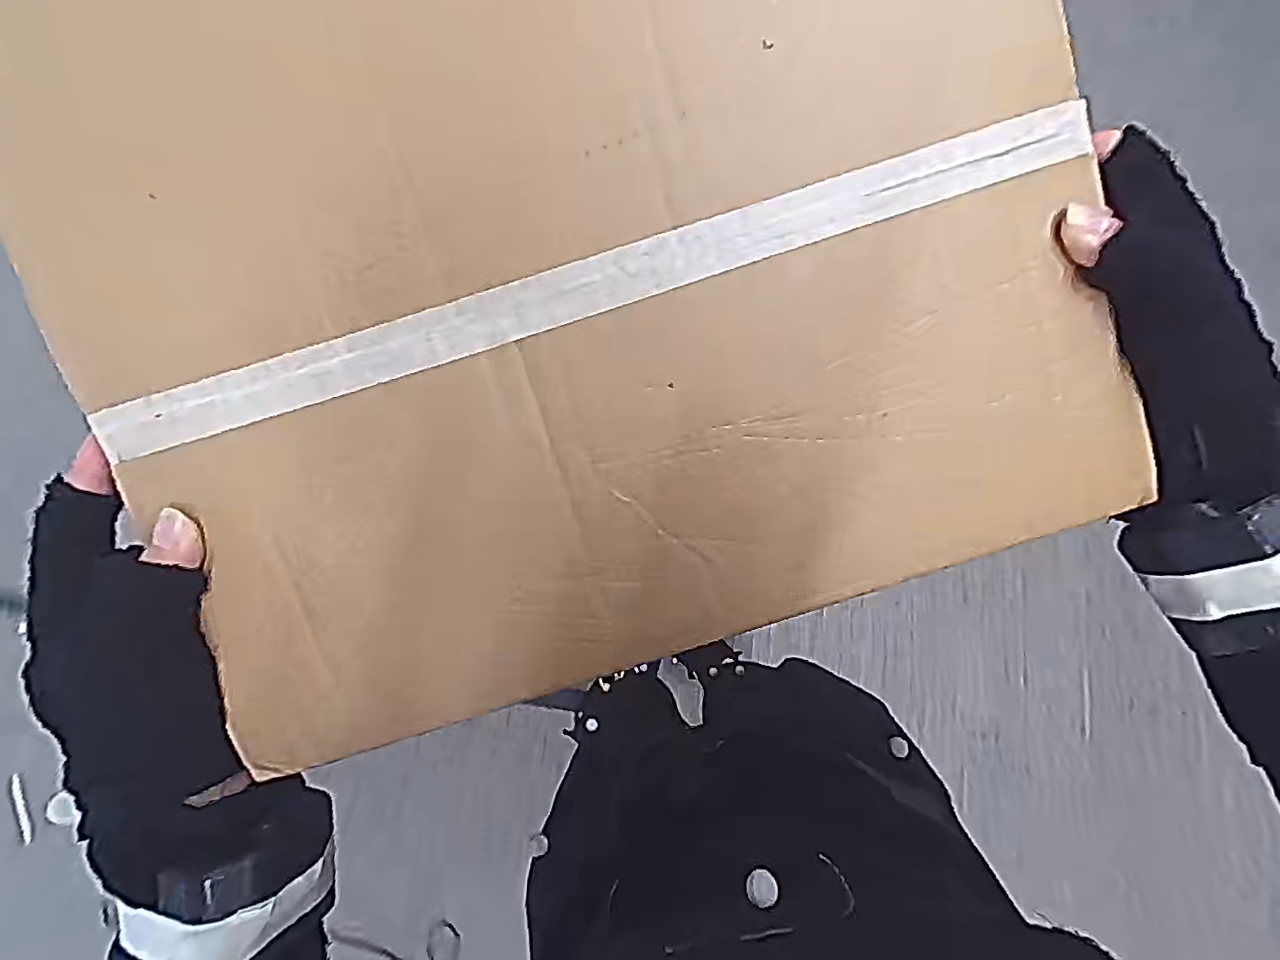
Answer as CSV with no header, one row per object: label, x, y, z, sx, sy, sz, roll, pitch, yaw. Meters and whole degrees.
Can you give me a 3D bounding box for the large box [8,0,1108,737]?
large box,-0.018,-0.101,0.375,0.408,0.320,0.320,-16,97,0
